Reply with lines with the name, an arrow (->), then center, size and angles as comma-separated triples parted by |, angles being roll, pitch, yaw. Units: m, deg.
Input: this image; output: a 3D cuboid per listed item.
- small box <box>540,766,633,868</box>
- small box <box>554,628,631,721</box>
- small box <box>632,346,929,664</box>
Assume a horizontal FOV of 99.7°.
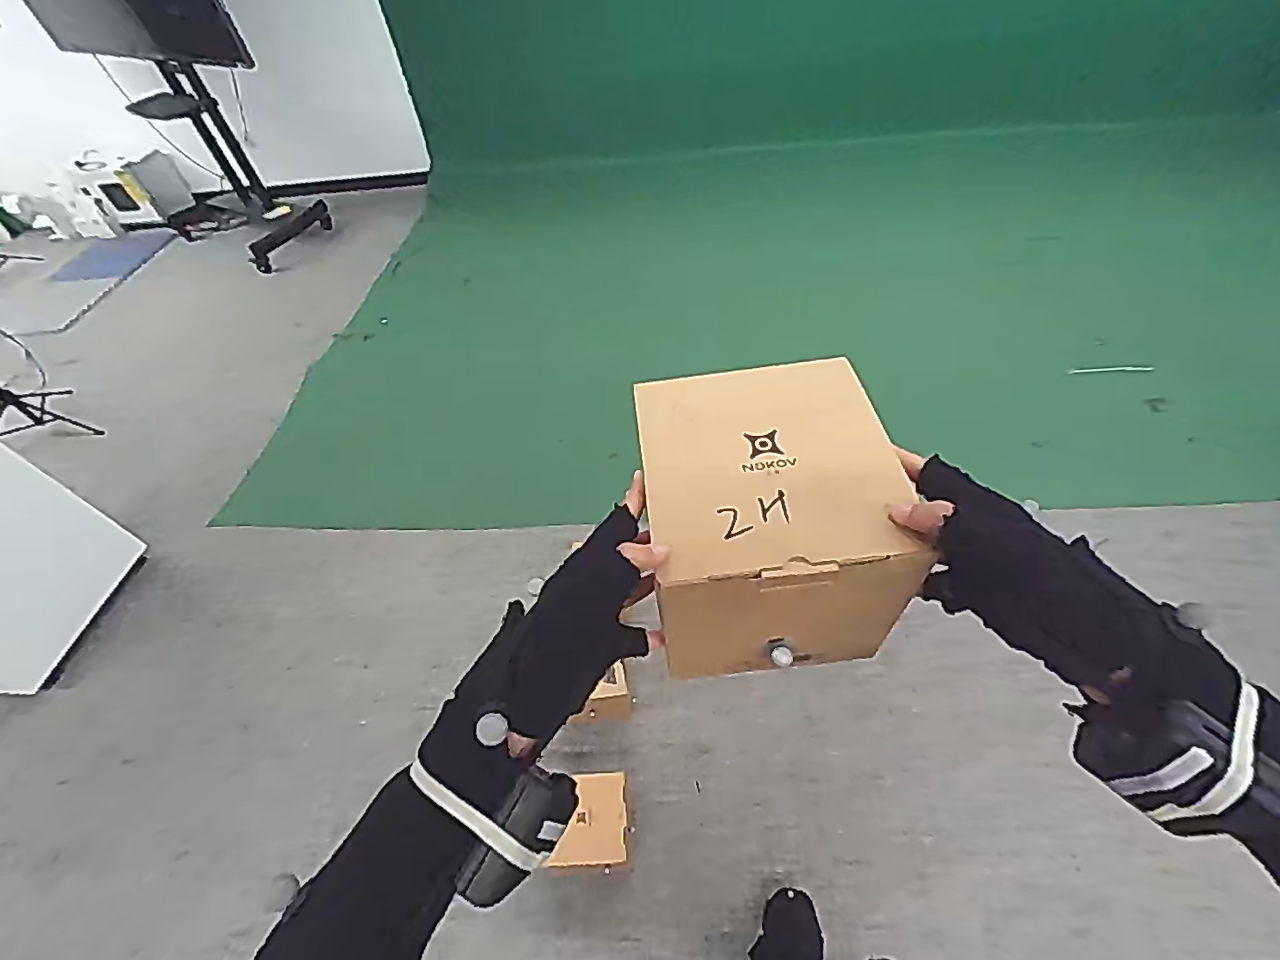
small box -> -0.112, 0.748, 1.195 | 0.179, 0.176, 0.168 | -5, 50, 1
small box -> -0.120, 0.507, 1.402 | 0.179, 0.176, 0.168 | -9, 49, 0
small box -> 0.086, 0.023, 0.424 | 0.168, 0.176, 0.179 | -7, 51, 2
